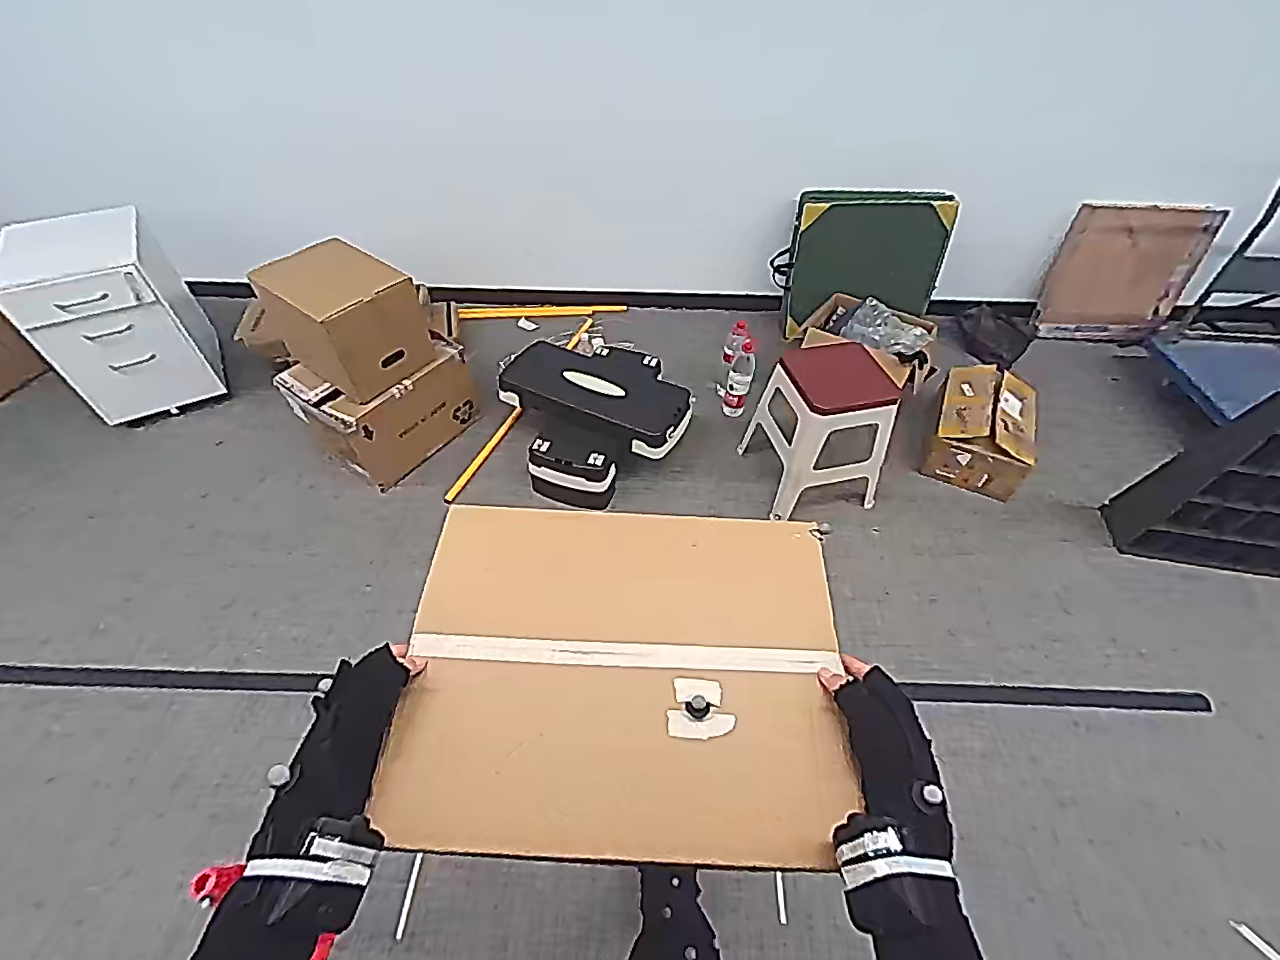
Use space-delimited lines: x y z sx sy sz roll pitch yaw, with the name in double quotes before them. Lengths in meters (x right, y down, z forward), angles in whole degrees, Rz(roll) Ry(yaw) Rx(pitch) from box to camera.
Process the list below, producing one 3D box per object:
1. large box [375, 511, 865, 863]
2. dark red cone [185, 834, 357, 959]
"large box" -0.017 0.255 0.638 0.408 0.320 0.320 3 54 0
"dark red cone" -0.714 0.757 1.004 0.201 0.394 0.202 7 49 4
